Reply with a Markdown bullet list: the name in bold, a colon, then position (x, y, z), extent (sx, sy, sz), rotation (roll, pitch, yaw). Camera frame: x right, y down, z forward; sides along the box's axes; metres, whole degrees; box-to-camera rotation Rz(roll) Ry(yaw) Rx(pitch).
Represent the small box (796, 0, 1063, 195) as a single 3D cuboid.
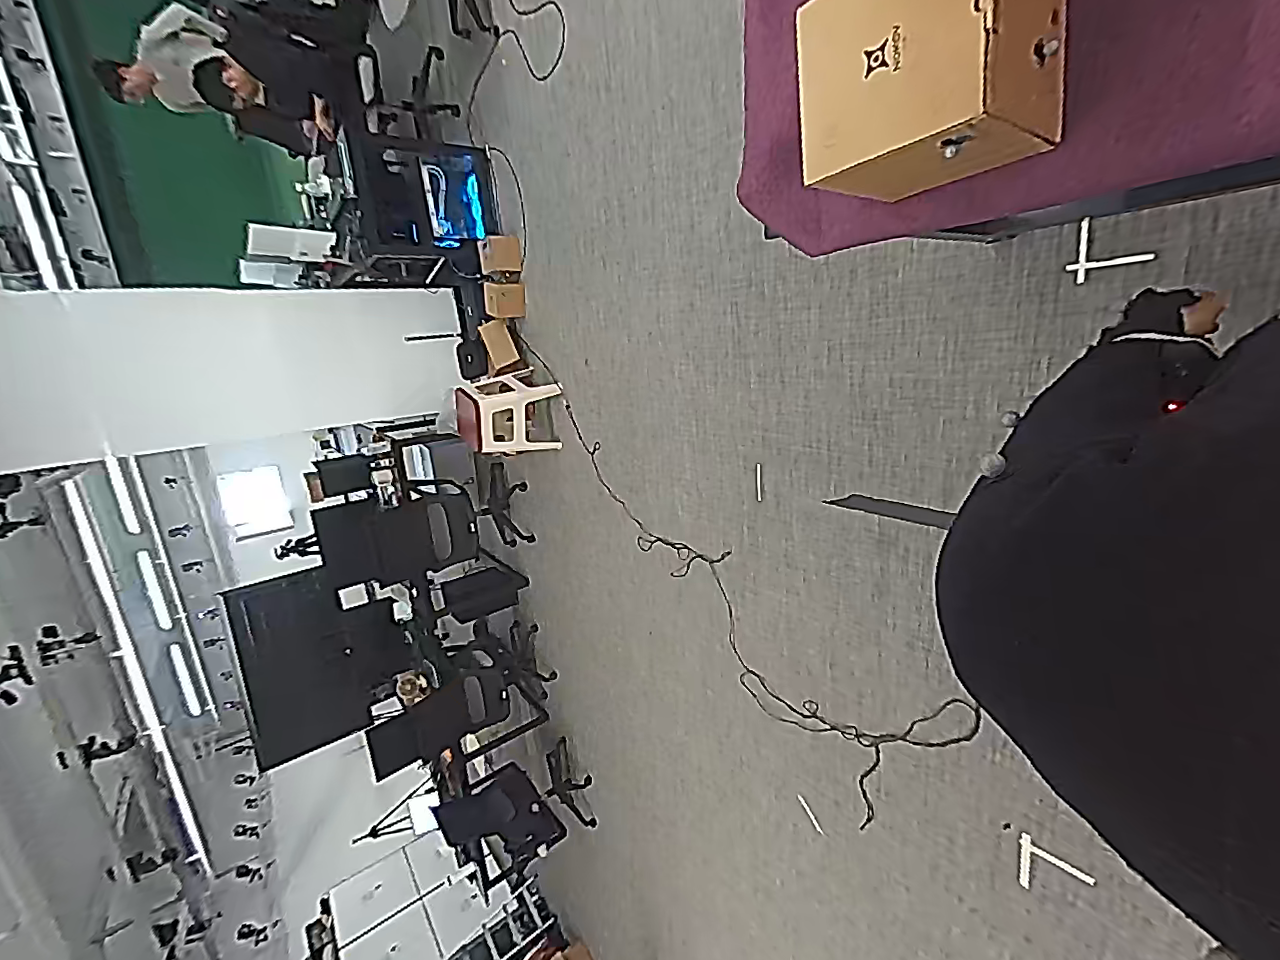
- **small box**: position (0.279, -0.399, 0.531), extent (0.179, 0.176, 0.168), rotation (7, 108, 53)
